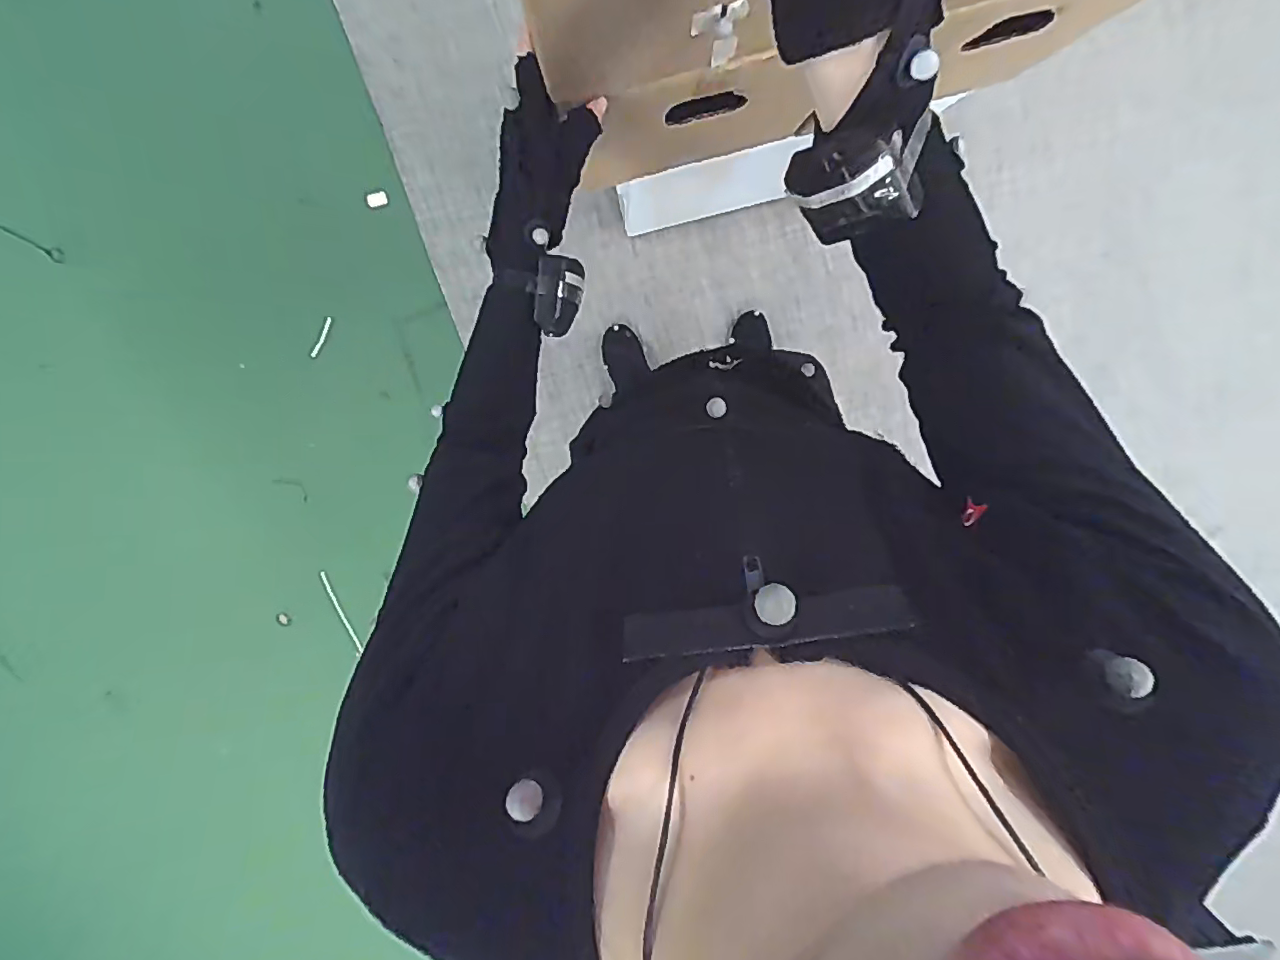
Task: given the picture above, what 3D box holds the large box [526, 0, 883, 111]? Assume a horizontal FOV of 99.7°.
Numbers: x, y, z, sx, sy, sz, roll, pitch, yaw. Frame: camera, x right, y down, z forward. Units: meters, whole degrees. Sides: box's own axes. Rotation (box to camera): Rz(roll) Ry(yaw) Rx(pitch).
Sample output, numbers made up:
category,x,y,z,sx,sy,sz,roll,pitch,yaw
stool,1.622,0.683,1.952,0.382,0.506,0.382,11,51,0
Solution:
category,x,y,z,sx,sy,sz,roll,pitch,yaw
large box,0.022,-0.511,0.280,0.320,0.320,0.408,-17,104,1
